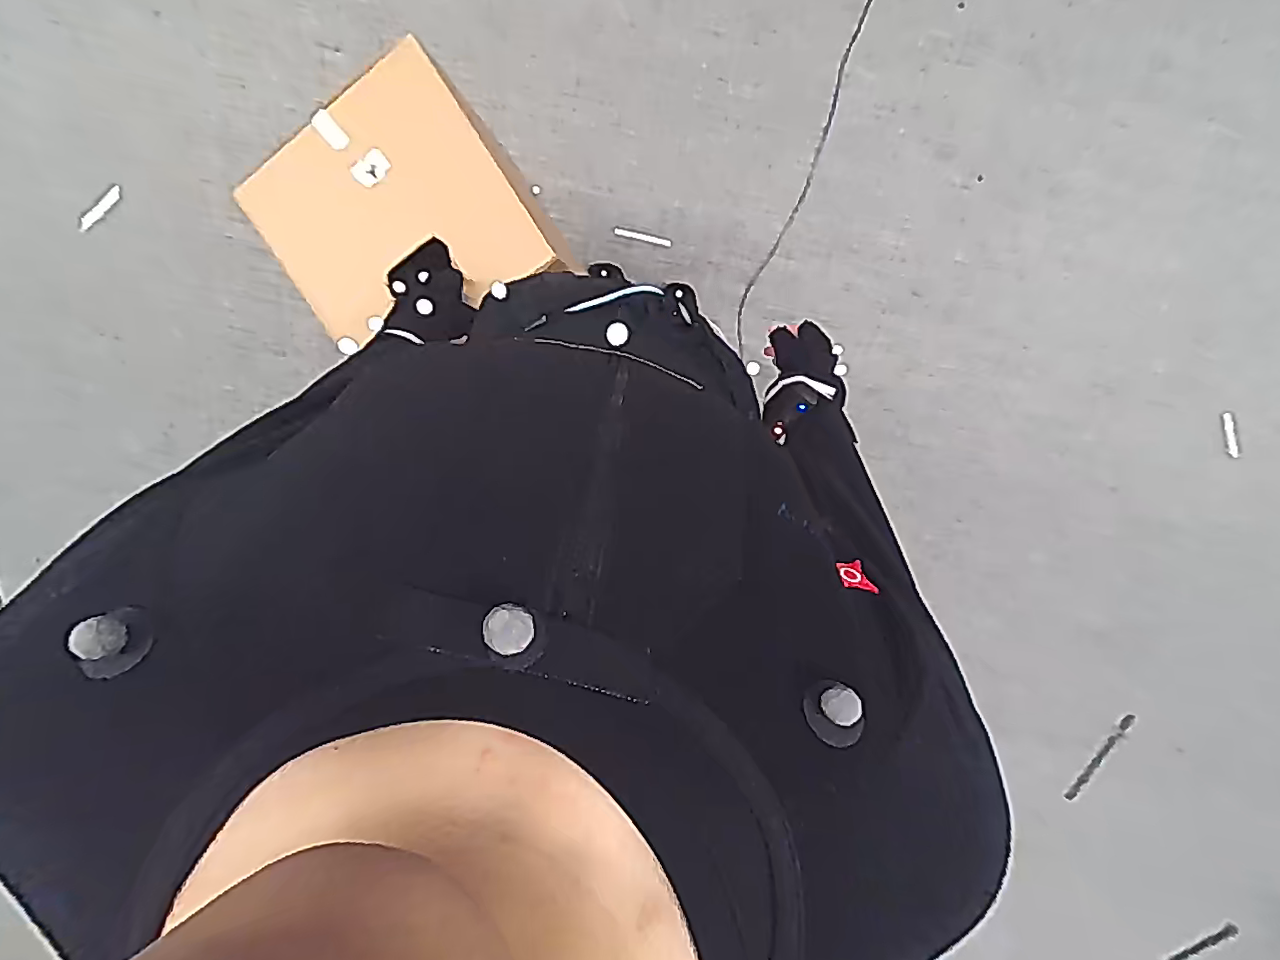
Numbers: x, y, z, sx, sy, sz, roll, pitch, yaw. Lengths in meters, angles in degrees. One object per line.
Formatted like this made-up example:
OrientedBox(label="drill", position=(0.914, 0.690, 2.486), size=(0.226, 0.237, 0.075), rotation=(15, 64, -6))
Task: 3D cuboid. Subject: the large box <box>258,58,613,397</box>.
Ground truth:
OrientedBox(label="large box", position=(-0.282, -0.355, 0.884), size=(0.320, 0.408, 0.320), rotation=(-30, 97, 11))
